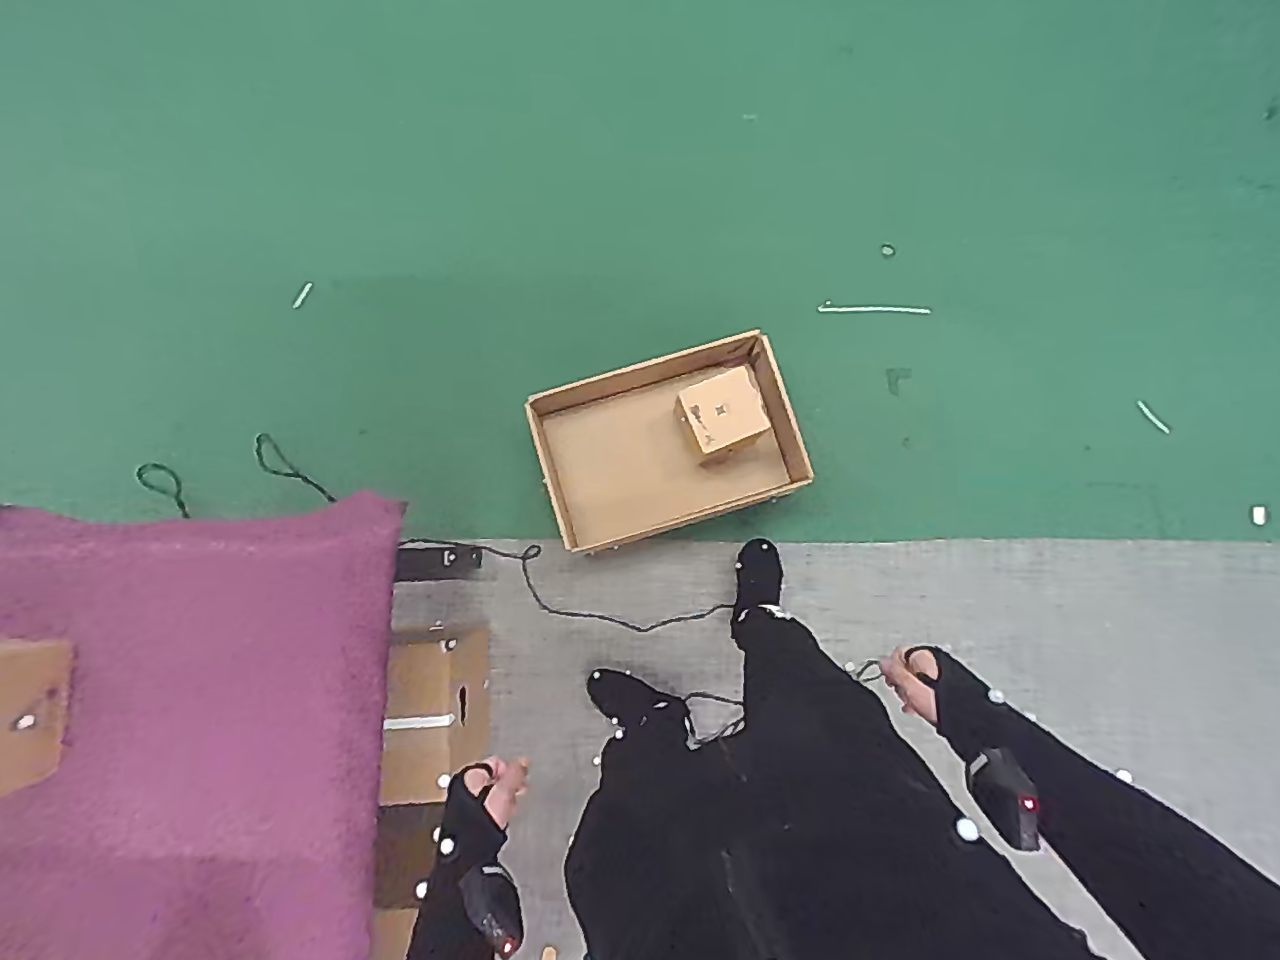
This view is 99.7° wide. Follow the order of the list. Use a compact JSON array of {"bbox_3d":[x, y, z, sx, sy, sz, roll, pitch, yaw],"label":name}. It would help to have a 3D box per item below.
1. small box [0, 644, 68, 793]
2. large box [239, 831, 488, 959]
[{"bbox_3d":[-0.820,0.284,0.604,0.179,0.176,0.168,1,85,-1],"label":"small box"},{"bbox_3d":[-0.572,1.011,1.183,0.408,0.320,0.320,-1,82,1],"label":"large box"}]
